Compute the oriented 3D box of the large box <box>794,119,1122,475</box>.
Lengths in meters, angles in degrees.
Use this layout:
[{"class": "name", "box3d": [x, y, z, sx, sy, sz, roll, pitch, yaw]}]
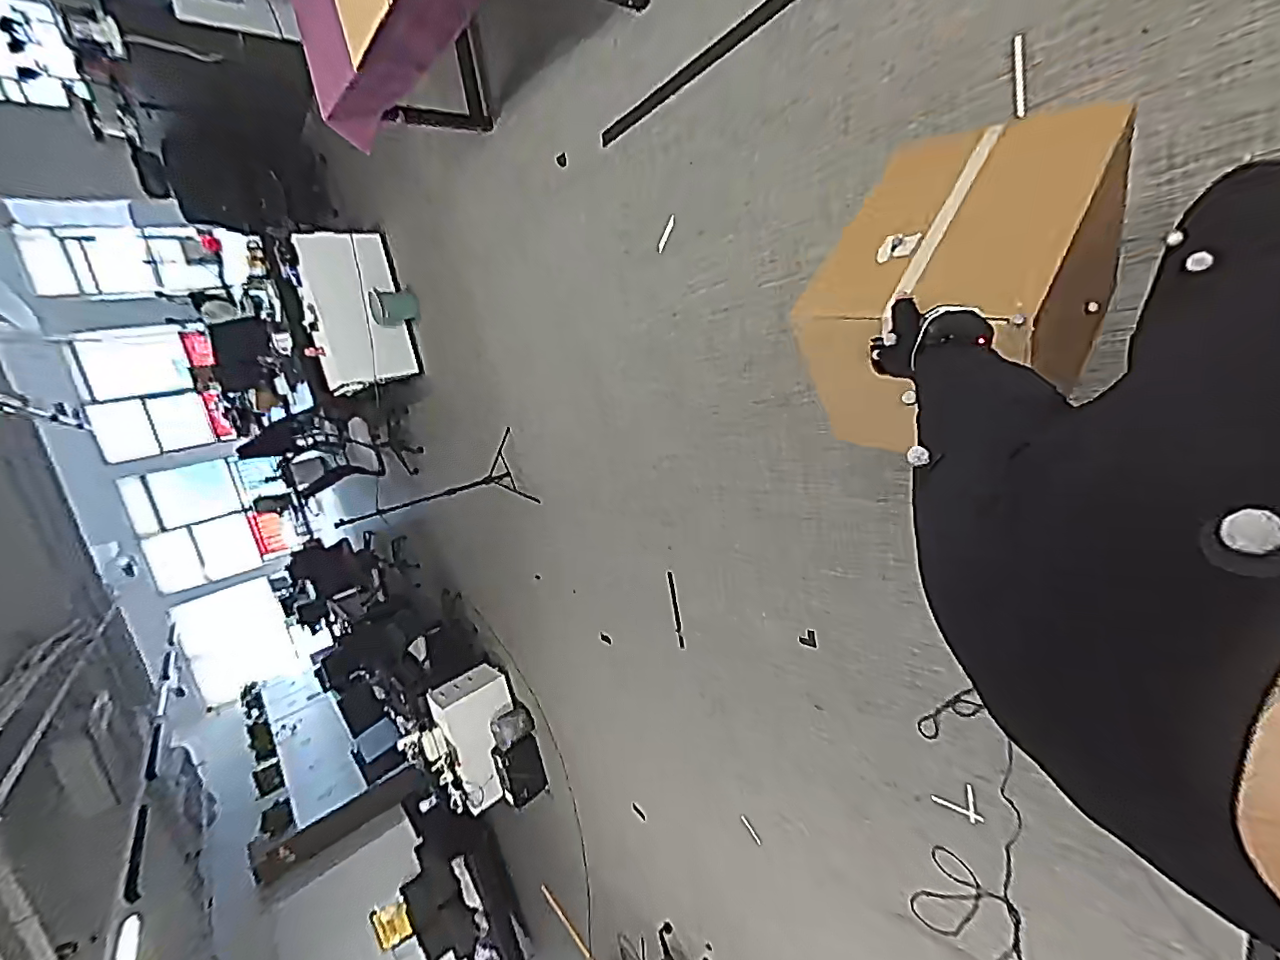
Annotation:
[{"class": "large box", "box3d": [0.514, -0.277, 0.871, 0.320, 0.408, 0.320, 17, 157, 45]}]
